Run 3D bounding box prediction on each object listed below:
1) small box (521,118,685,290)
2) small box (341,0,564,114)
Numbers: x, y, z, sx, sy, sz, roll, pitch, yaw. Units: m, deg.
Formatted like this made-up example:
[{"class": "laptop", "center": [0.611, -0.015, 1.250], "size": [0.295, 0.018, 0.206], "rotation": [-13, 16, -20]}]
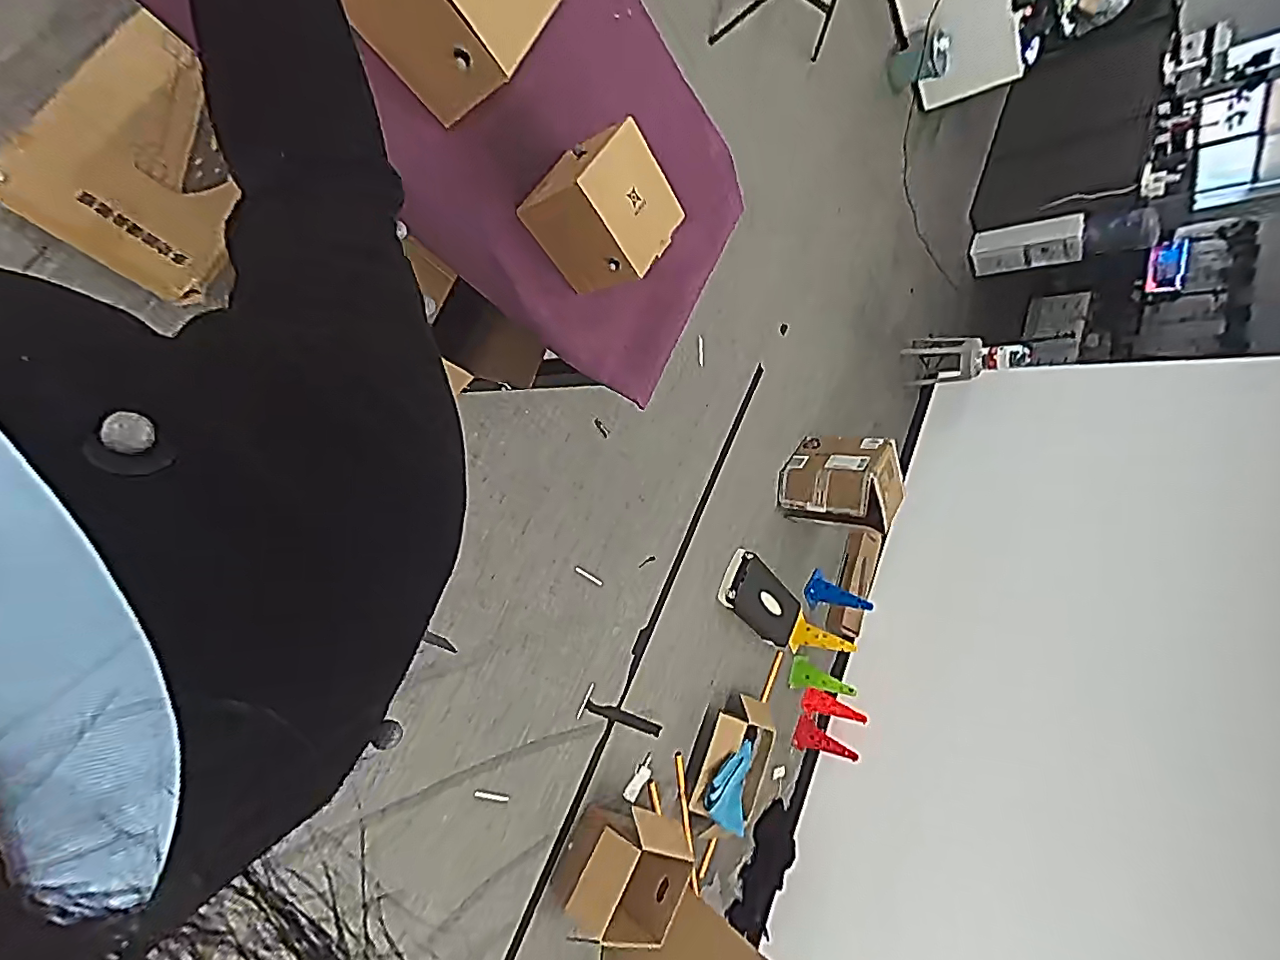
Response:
[{"class": "small box", "center": [-0.062, -0.442, 0.896], "size": [0.179, 0.176, 0.168], "rotation": [47, 63, -39]}, {"class": "small box", "center": [-0.238, -0.613, 0.693], "size": [0.179, 0.176, 0.168], "rotation": [39, 66, -41]}]
